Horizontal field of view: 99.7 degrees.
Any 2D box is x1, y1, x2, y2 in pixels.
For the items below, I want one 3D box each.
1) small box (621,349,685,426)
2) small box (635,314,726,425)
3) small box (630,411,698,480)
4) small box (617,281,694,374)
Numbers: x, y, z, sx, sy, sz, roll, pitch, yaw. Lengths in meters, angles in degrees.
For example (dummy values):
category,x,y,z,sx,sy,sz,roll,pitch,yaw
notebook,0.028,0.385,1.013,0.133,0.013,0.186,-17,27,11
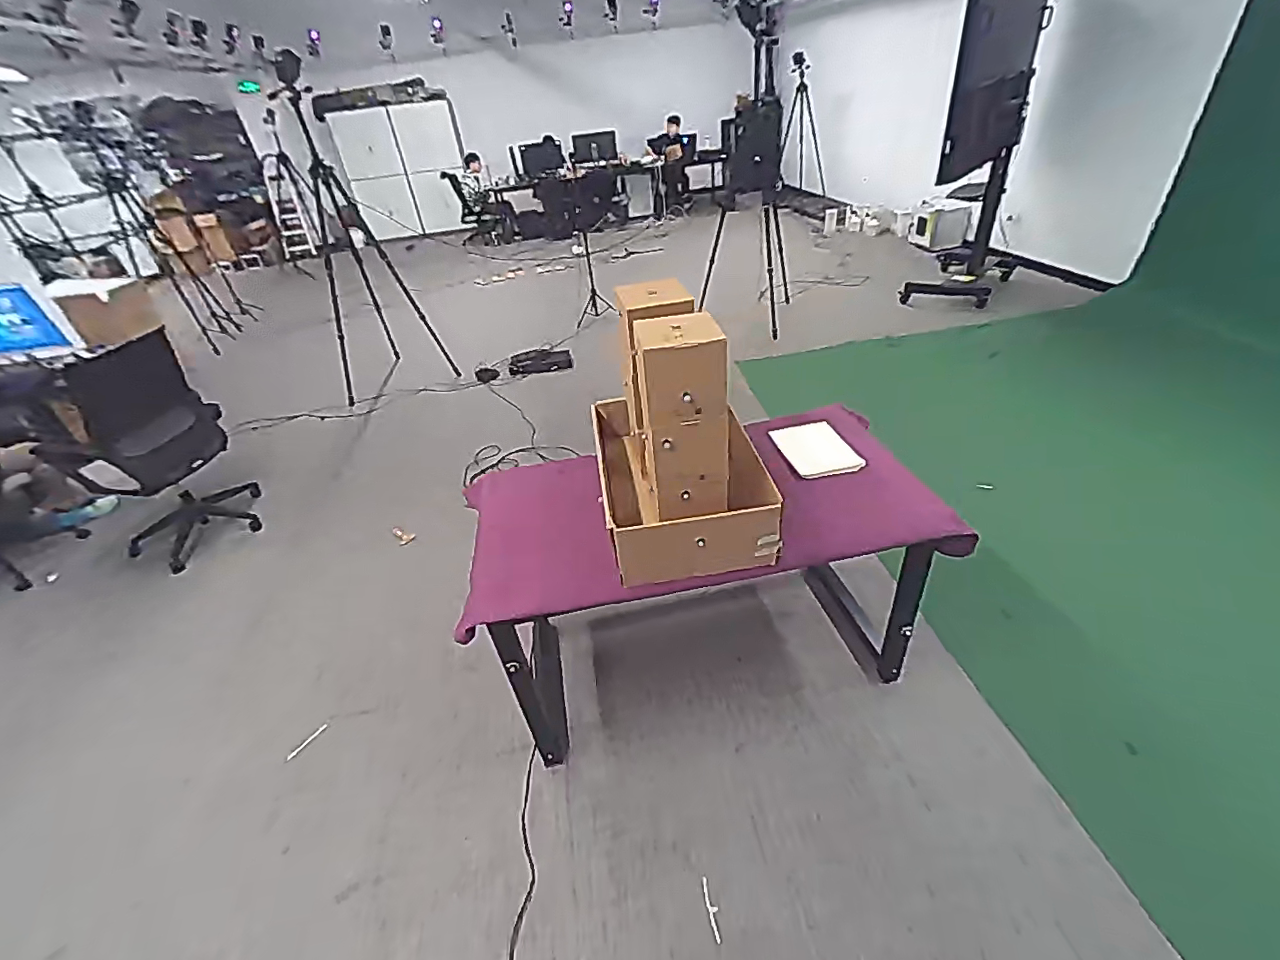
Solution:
category,x,y,z,sx,sy,sz,roll,pitch,yaw
small box,0.051,-0.258,1.467,0.168,0.176,0.179,-10,37,-6
small box,0.082,-0.236,1.145,0.168,0.176,0.179,-8,35,-2
small box,0.067,-0.123,1.559,0.168,0.176,0.179,-10,38,-5
small box,0.038,-0.387,1.369,0.168,0.176,0.179,-10,38,-5
